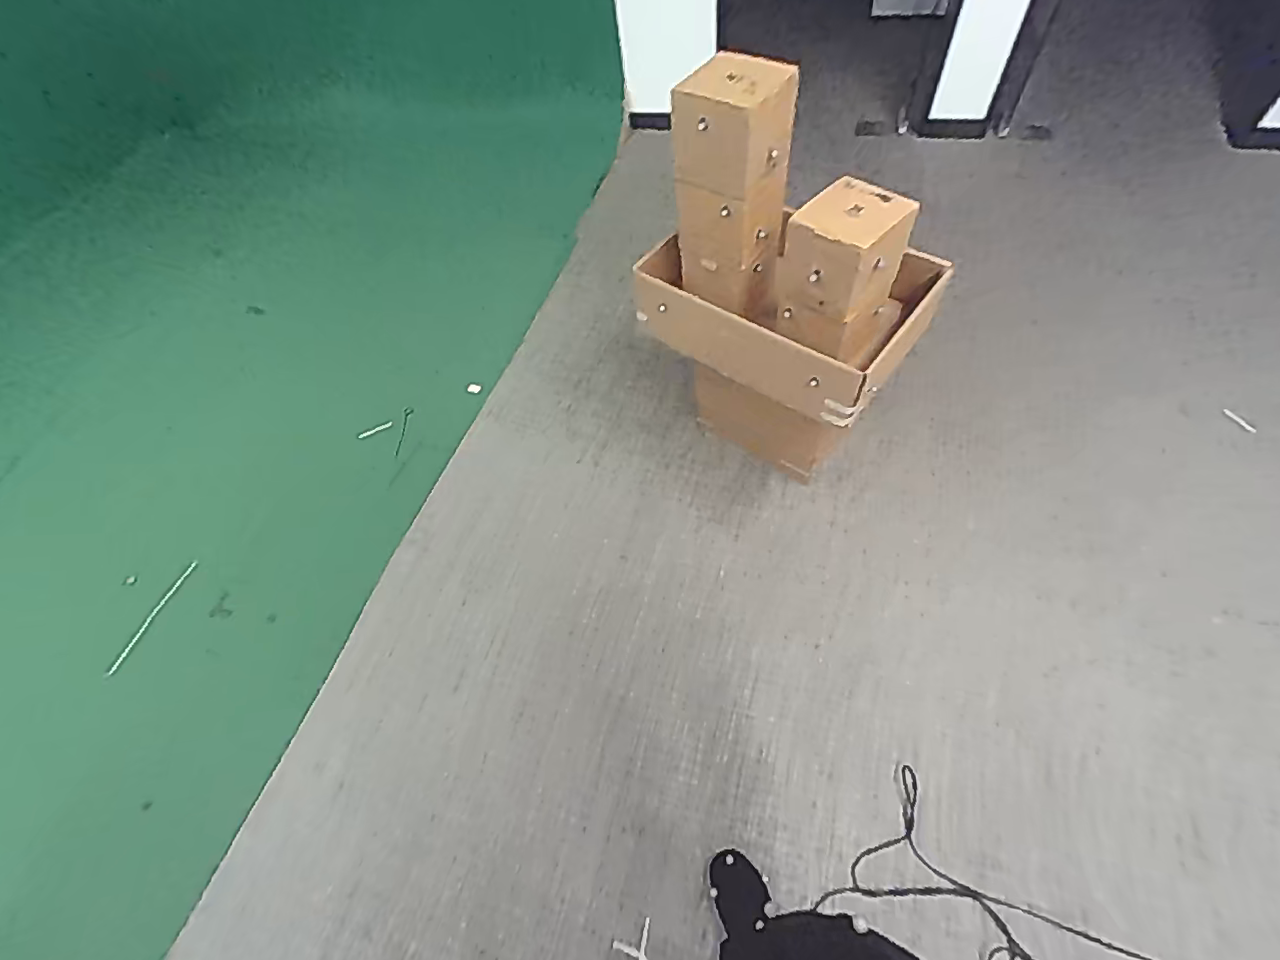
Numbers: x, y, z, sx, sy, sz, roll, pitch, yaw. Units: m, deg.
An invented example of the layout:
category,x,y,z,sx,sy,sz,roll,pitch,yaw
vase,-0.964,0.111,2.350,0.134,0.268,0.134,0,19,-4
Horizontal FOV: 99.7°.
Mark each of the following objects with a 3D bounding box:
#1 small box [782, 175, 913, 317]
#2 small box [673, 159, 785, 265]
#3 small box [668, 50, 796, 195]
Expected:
category,x,y,z,sx,sy,sz,roll,pitch,yaw
small box,0.399,-0.459,1.073,0.179,0.176,0.168,-41,63,-16
small box,0.192,-0.608,1.193,0.179,0.176,0.168,33,68,22
small box,0.174,-0.689,1.050,0.179,0.176,0.168,32,68,22
